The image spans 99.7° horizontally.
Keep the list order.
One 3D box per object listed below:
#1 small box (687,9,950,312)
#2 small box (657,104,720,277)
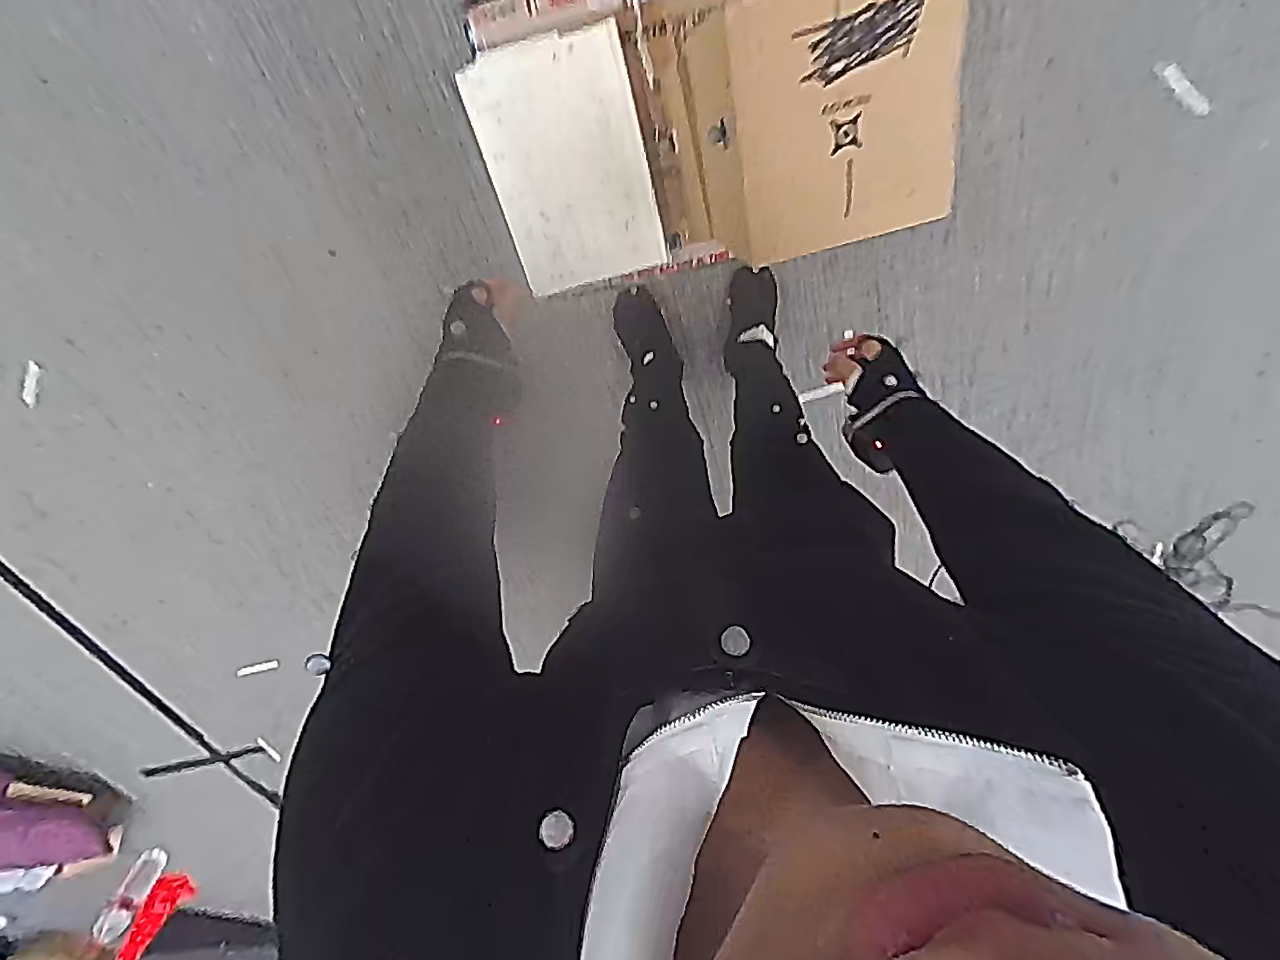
[{"bbox_3d":[0.146,-0.275,0.486,0.168,0.176,0.179,-14,122,3],"label":"small box"},{"bbox_3d":[0.129,-0.358,0.626,0.179,0.176,0.168,-16,121,5],"label":"small box"}]
